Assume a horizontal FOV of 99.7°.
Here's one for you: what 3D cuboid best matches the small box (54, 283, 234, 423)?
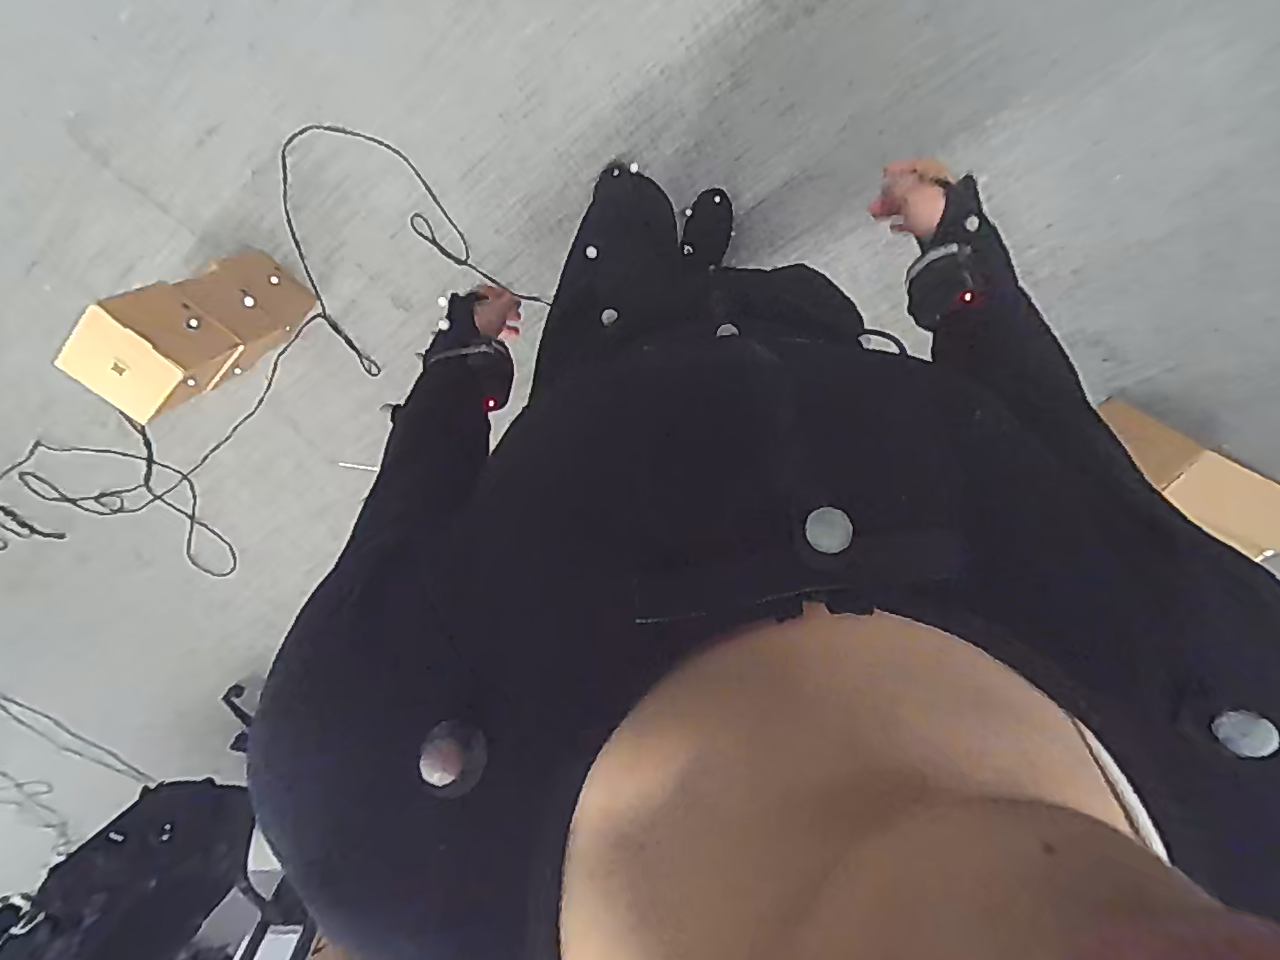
[{"bbox_3d":[-0.946,-0.249,1.048,0.179,0.176,0.168,-36,115,21],"label":"small box"}]

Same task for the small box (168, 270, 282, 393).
[{"bbox_3d":[-0.940,-0.330,1.189,0.179,0.176,0.168,-35,115,21],"label":"small box"}]

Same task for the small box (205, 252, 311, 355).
[{"bbox_3d":[-0.948,-0.427,1.322,0.179,0.176,0.168,-38,113,23],"label":"small box"}]
